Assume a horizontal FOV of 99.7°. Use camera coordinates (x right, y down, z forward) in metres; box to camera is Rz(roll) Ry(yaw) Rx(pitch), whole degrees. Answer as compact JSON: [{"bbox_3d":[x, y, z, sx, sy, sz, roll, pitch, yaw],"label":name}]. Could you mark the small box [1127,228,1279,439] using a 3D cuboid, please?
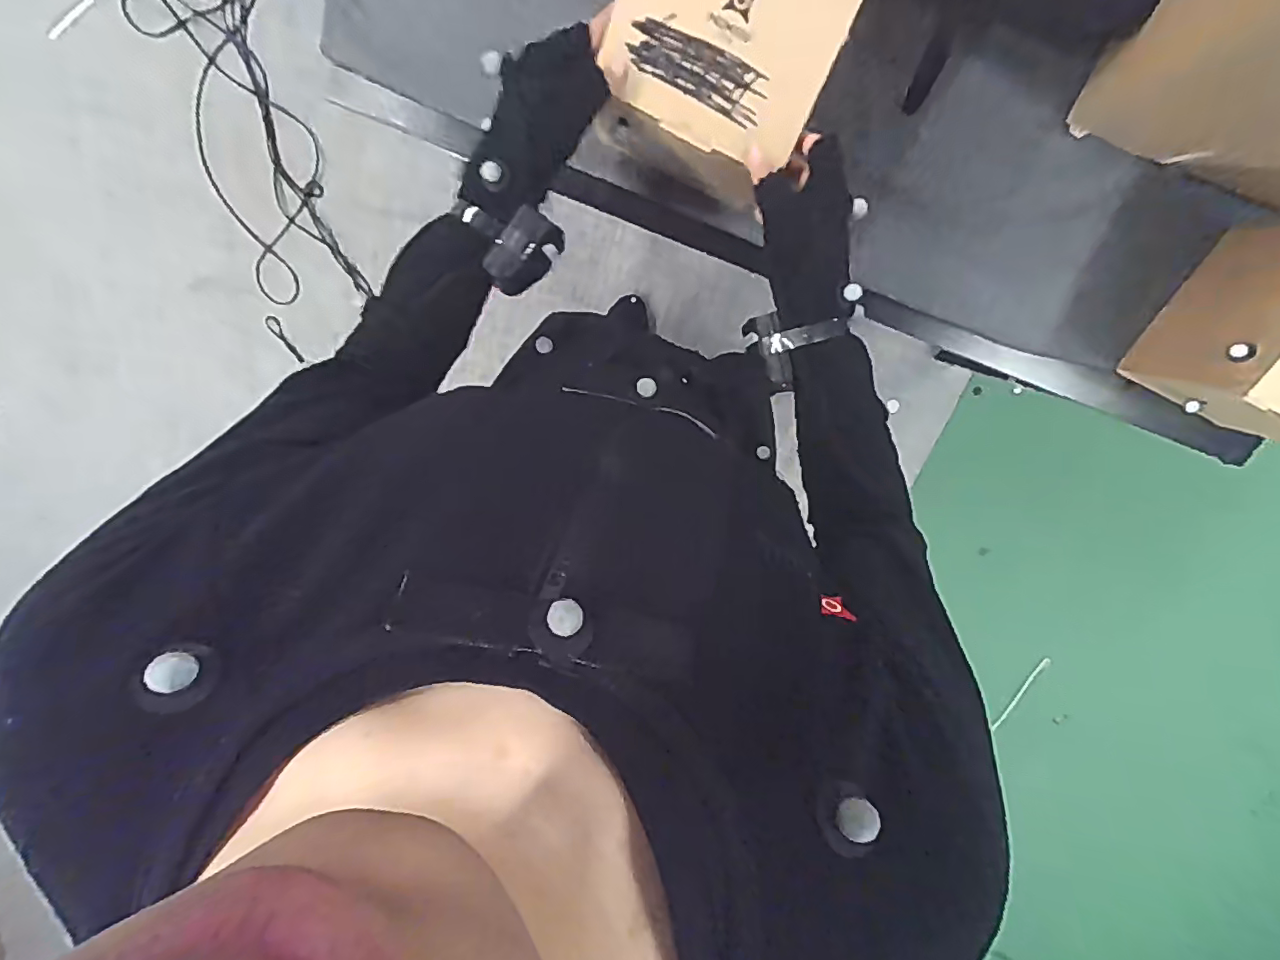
[{"bbox_3d":[0.690,-0.149,0.568,0.168,0.176,0.179,24,113,-6],"label":"small box"}]
